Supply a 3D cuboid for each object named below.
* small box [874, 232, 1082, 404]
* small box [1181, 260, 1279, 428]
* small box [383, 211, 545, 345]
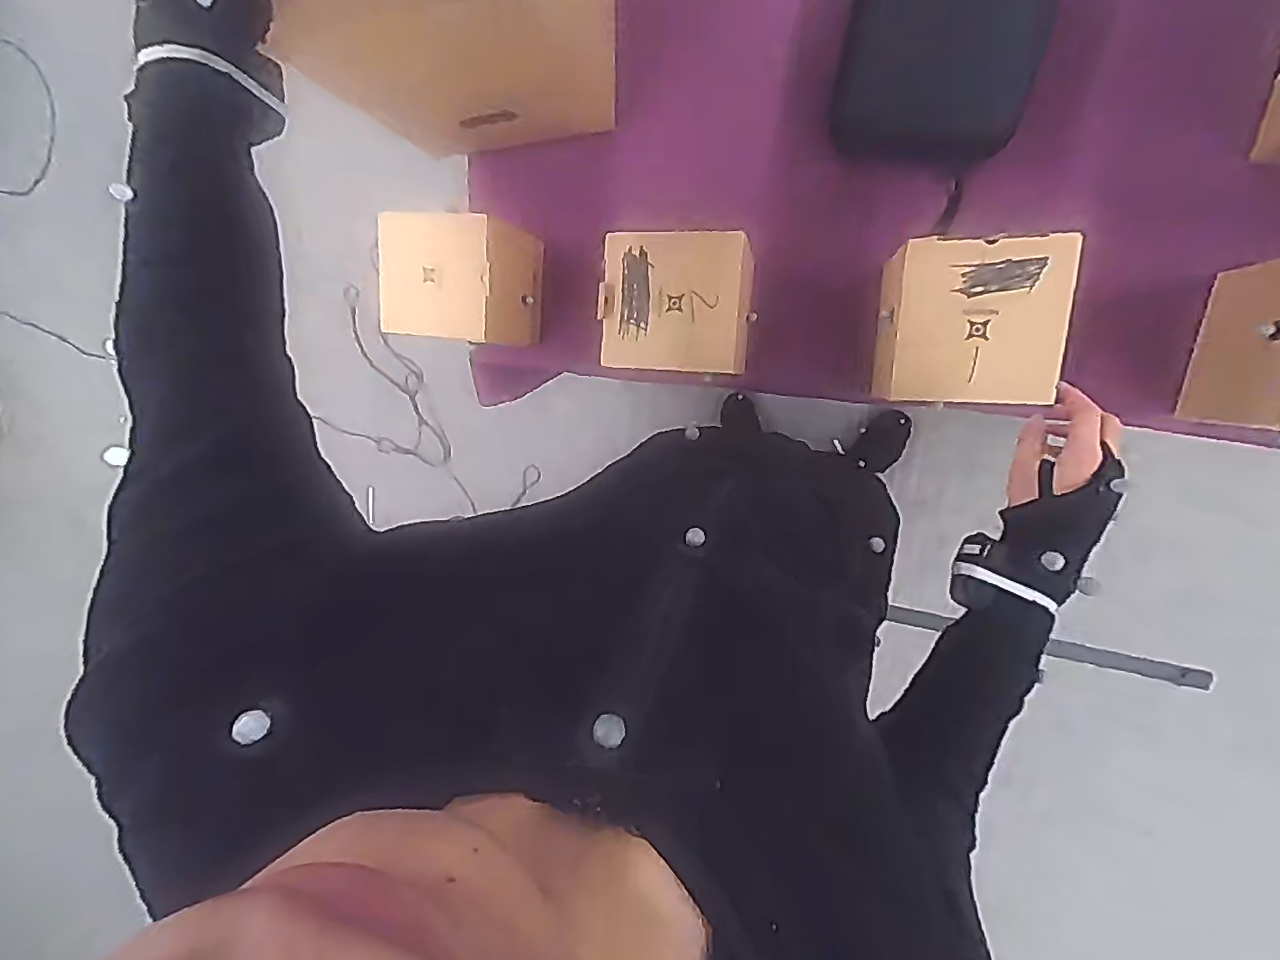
[{"bbox_3d":[0.390,-0.188,0.660,0.168,0.176,0.179,5,103,16],"label":"small box"},{"bbox_3d":[0.735,-0.139,0.567,0.168,0.176,0.179,10,103,15],"label":"small box"},{"bbox_3d":[-0.263,-0.299,0.828,0.179,0.176,0.168,8,103,13],"label":"small box"}]
